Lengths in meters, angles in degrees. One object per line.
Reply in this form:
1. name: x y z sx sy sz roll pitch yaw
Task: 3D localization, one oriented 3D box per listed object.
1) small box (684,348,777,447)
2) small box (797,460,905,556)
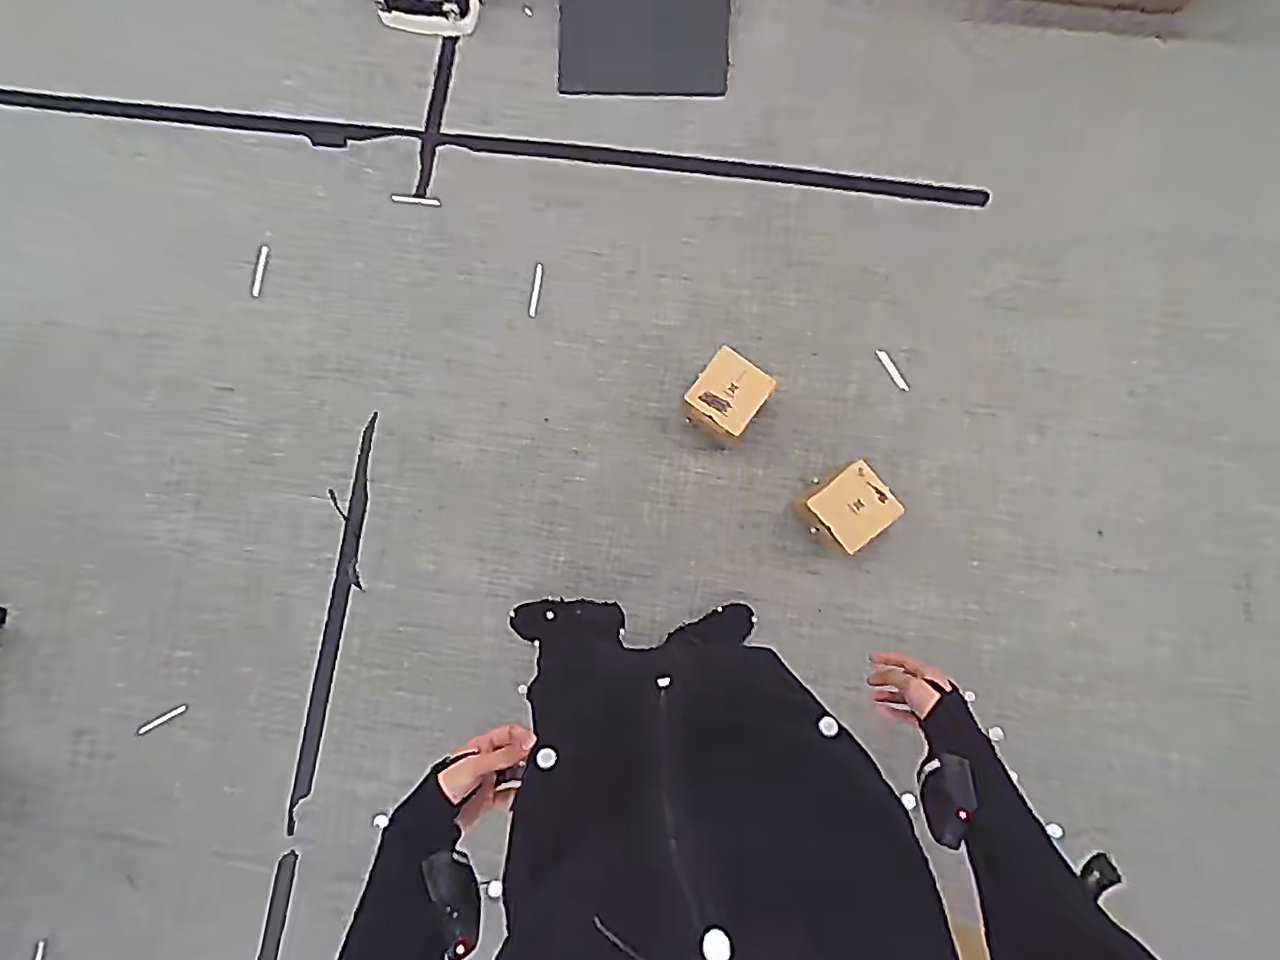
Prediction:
1. small box: 0.228 -0.205 1.409 0.168 0.176 0.179 37 86 5
2. small box: 0.521 0.073 1.373 0.179 0.176 0.168 -38 85 0
